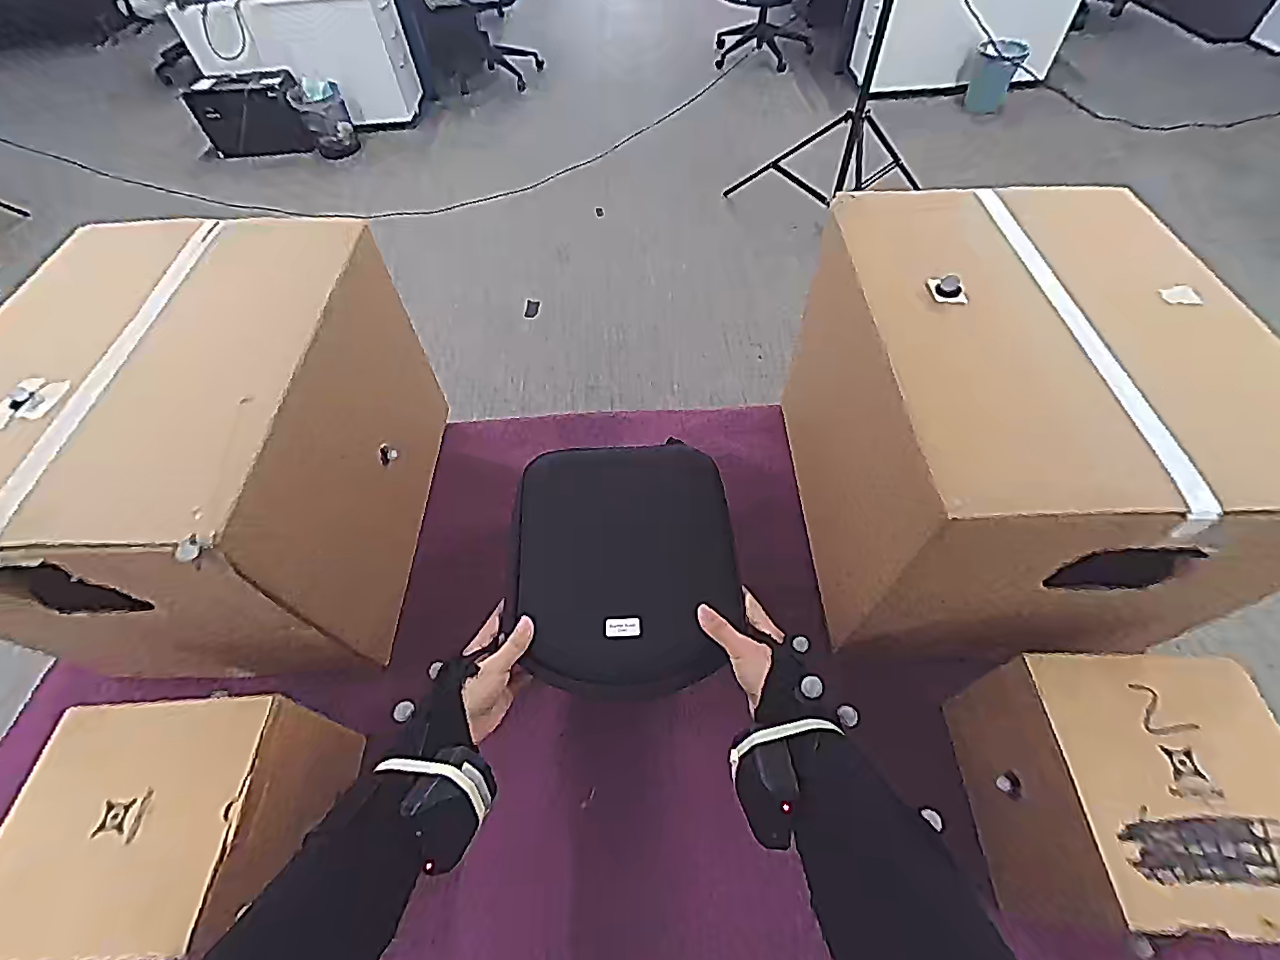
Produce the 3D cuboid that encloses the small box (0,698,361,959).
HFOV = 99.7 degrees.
[{"bbox_3d":[-0.383,0.303,0.472,0.179,0.176,0.168,-4,53,-1],"label":"small box"}]

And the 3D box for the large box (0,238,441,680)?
[{"bbox_3d":[-0.448,-0.017,0.615,0.320,0.320,0.408,-2,57,0],"label":"large box"}]
